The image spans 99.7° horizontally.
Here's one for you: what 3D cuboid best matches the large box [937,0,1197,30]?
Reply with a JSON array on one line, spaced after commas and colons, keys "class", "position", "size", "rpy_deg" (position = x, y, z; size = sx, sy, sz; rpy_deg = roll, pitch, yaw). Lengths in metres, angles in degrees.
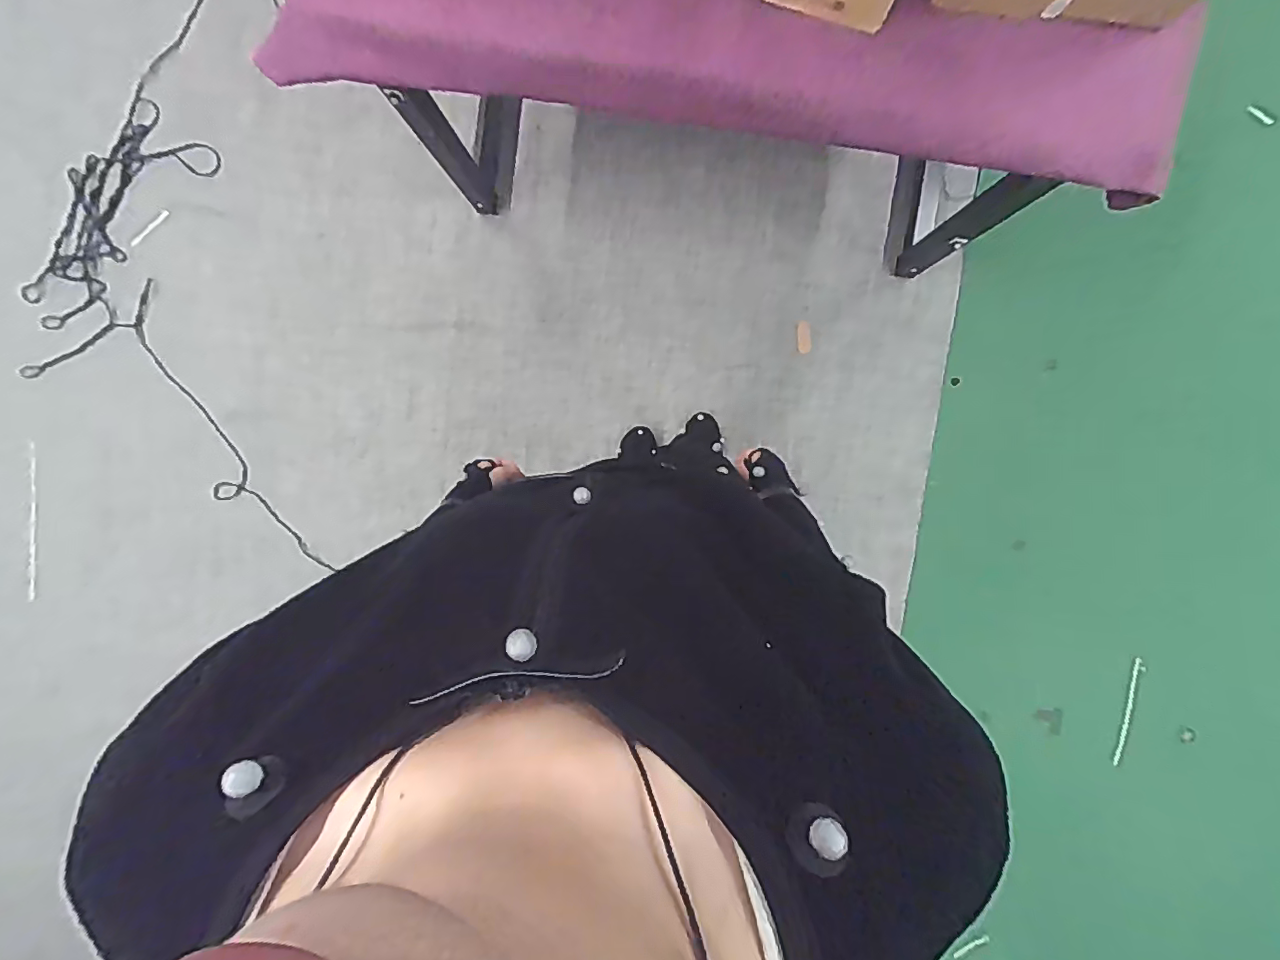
[{"class": "large box", "position": [0.556, -0.792, 0.549], "size": [0.320, 0.320, 0.408], "rpy_deg": [8, 95, 3]}]
